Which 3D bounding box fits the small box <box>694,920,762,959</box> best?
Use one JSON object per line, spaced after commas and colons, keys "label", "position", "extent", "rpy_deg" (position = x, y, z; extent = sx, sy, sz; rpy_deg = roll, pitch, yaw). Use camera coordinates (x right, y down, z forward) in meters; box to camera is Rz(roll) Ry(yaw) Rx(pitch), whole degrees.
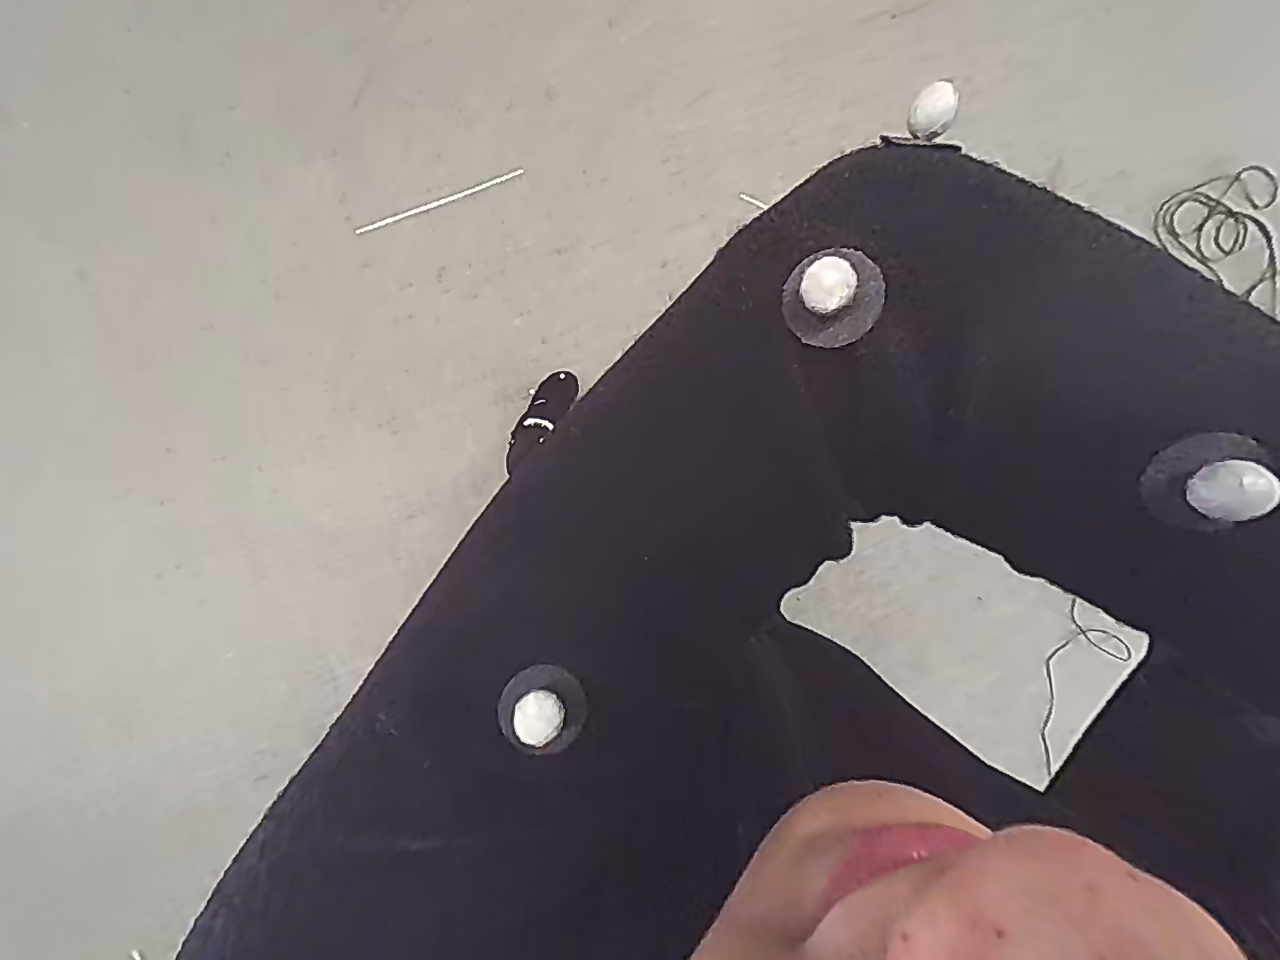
{"label": "small box", "position": [0.250, 1.344, 1.450], "extent": [0.168, 0.176, 0.179], "rpy_deg": [-9, 94, -6]}
